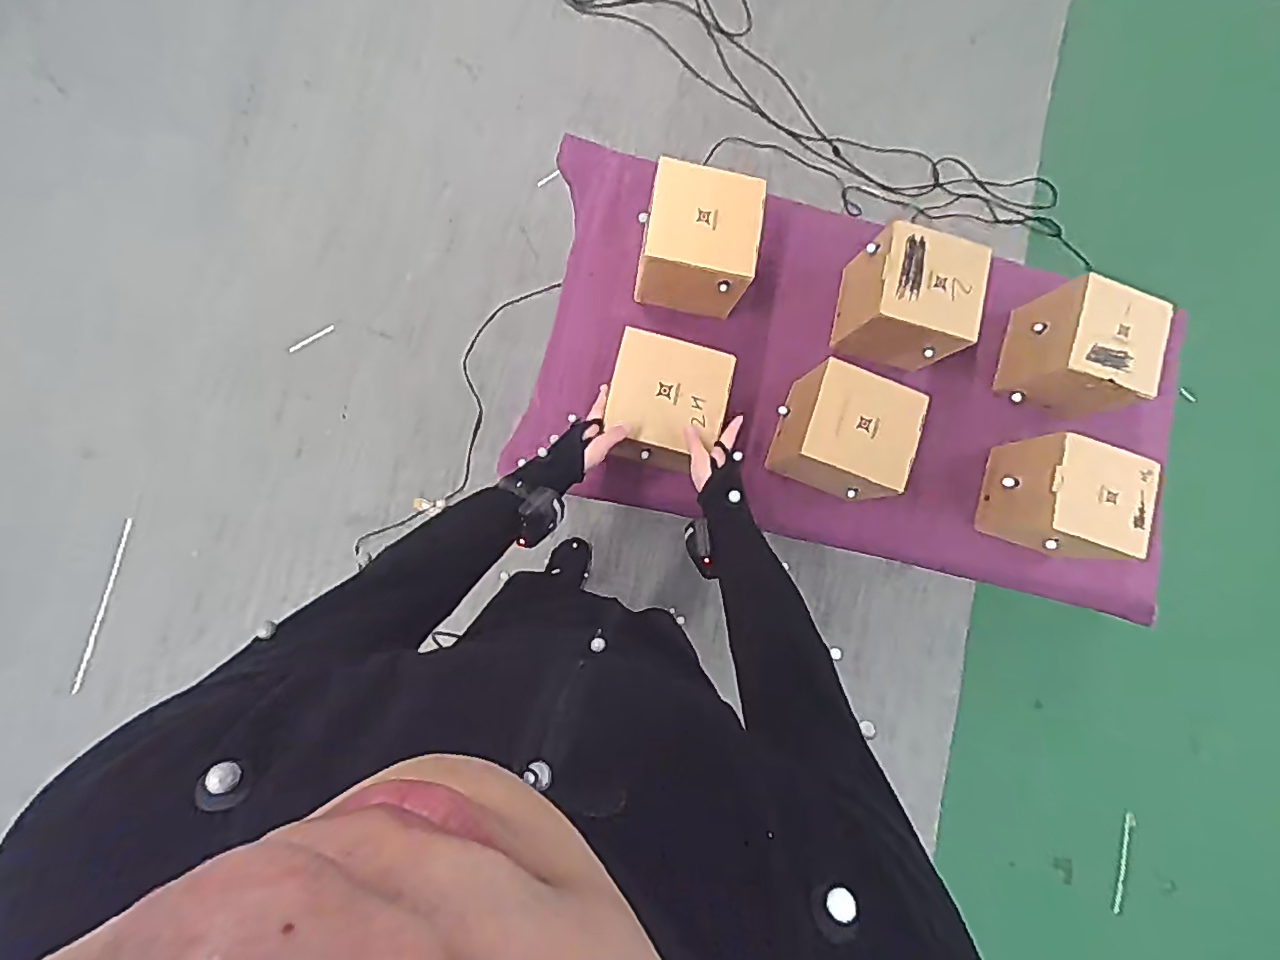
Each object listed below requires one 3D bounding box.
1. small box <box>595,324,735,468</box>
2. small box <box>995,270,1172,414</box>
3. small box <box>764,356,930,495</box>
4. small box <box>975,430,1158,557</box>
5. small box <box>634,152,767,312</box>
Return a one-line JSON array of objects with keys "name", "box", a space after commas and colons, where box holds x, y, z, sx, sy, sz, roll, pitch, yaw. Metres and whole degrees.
[{"name": "small box", "box": [0.030, -0.122, 0.866, 0.179, 0.176, 0.168, 14, 83, -6]}, {"name": "small box", "box": [0.782, -0.234, 0.971, 0.168, 0.176, 0.179, 19, 82, -5]}, {"name": "small box", "box": [0.335, -0.080, 0.903, 0.179, 0.176, 0.168, 21, 82, -4]}, {"name": "small box", "box": [0.728, 0.031, 0.941, 0.179, 0.176, 0.168, 18, 82, -4]}, {"name": "small box", "box": [0.091, -0.398, 0.901, 0.179, 0.176, 0.168, 9, 84, -7]}]
